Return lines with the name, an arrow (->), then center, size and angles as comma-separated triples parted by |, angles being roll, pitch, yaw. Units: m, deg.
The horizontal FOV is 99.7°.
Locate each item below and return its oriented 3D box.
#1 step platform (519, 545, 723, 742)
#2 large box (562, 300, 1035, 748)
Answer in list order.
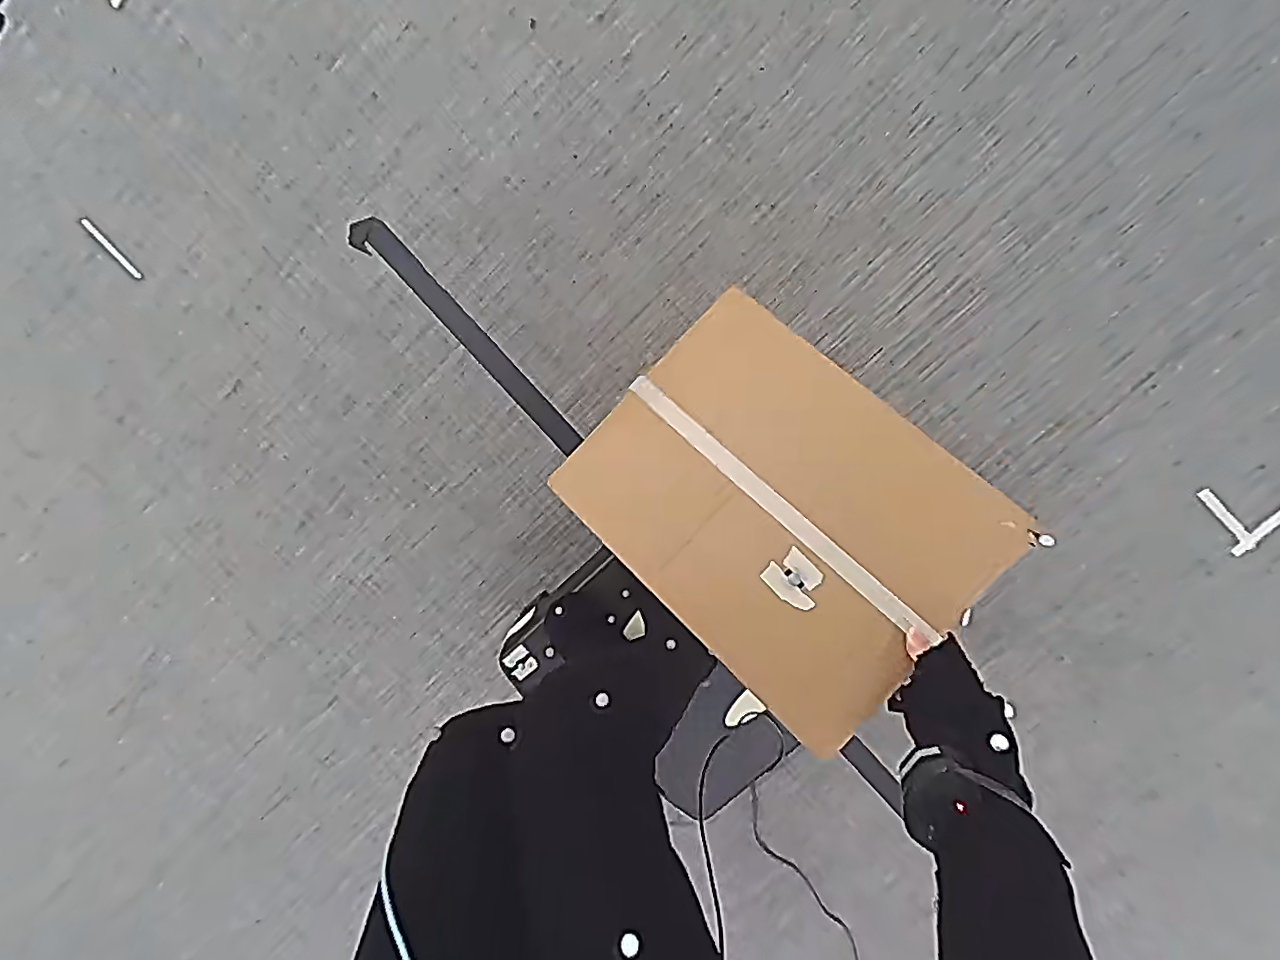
step platform -> 0.088, 0.171, 1.034 | 0.684, 0.204, 0.286 | -44, 94, 7
large box -> 0.173, 0.051, 0.724 | 0.408, 0.320, 0.320 | 44, 91, 13
